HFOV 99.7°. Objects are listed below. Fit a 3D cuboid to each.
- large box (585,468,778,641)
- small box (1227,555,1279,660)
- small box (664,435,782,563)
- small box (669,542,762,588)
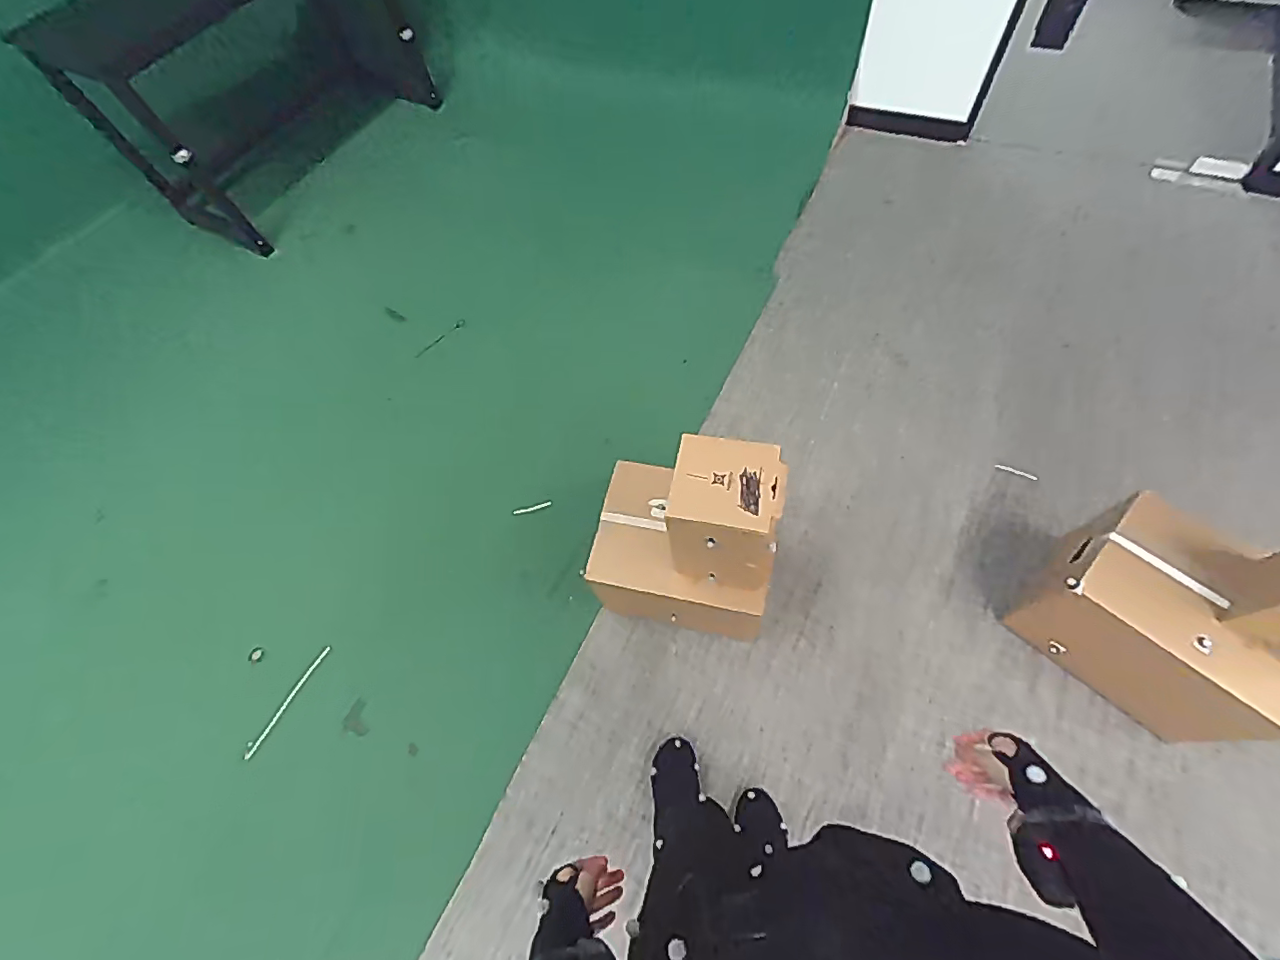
[{"bbox_3d":[0.121,0.196,1.369,0.408,0.320,0.320,9,64,13],"label":"large box"},{"bbox_3d":[1.208,0.224,0.944,0.179,0.176,0.168,-42,66,-15],"label":"small box"},{"bbox_3d":[0.151,0.041,0.981,0.179,0.176,0.168,9,65,13],"label":"small box"},{"bbox_3d":[0.171,0.114,1.127,0.179,0.176,0.168,13,65,13],"label":"small box"}]
